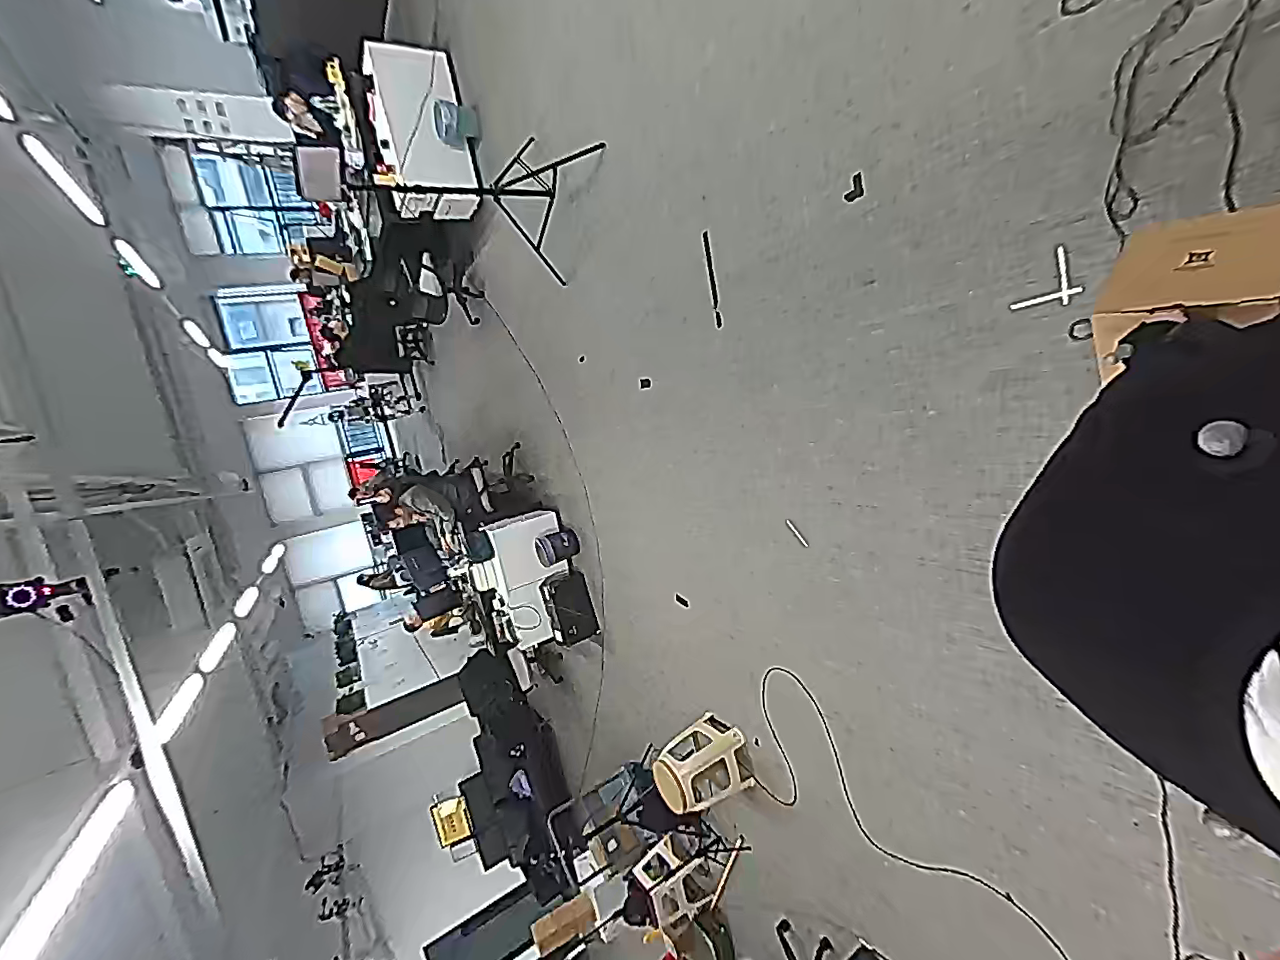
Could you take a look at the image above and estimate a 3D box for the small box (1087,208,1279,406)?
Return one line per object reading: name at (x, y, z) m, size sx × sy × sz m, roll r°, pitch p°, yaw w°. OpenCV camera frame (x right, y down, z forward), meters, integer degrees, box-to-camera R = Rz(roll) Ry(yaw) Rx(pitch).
small box at (0.722, -0.213, 0.702) m, size 0.168 × 0.179 × 0.176 m, roll 15°, pitch 153°, yaw 53°
